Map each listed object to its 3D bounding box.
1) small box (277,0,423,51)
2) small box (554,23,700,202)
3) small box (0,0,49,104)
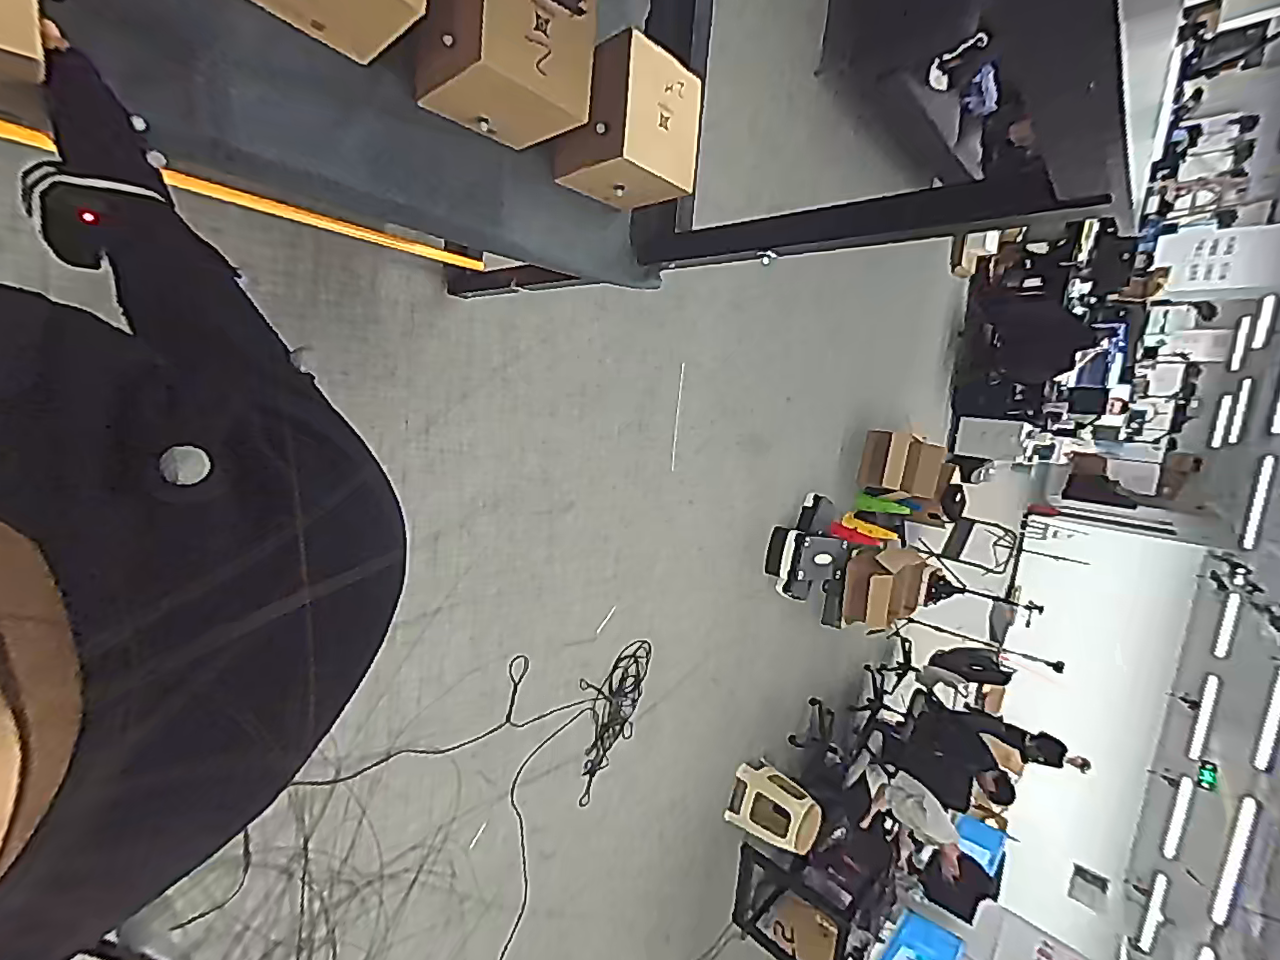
[{"bbox_3d":[-0.326,-0.597,0.553,0.168,0.176,0.179,3,98,-48],"label":"small box"},{"bbox_3d":[-0.025,-0.578,0.884,0.168,0.176,0.179,-6,104,-47],"label":"small box"},{"bbox_3d":[-0.536,-0.401,0.368,0.168,0.176,0.179,-7,107,-47],"label":"small box"}]
